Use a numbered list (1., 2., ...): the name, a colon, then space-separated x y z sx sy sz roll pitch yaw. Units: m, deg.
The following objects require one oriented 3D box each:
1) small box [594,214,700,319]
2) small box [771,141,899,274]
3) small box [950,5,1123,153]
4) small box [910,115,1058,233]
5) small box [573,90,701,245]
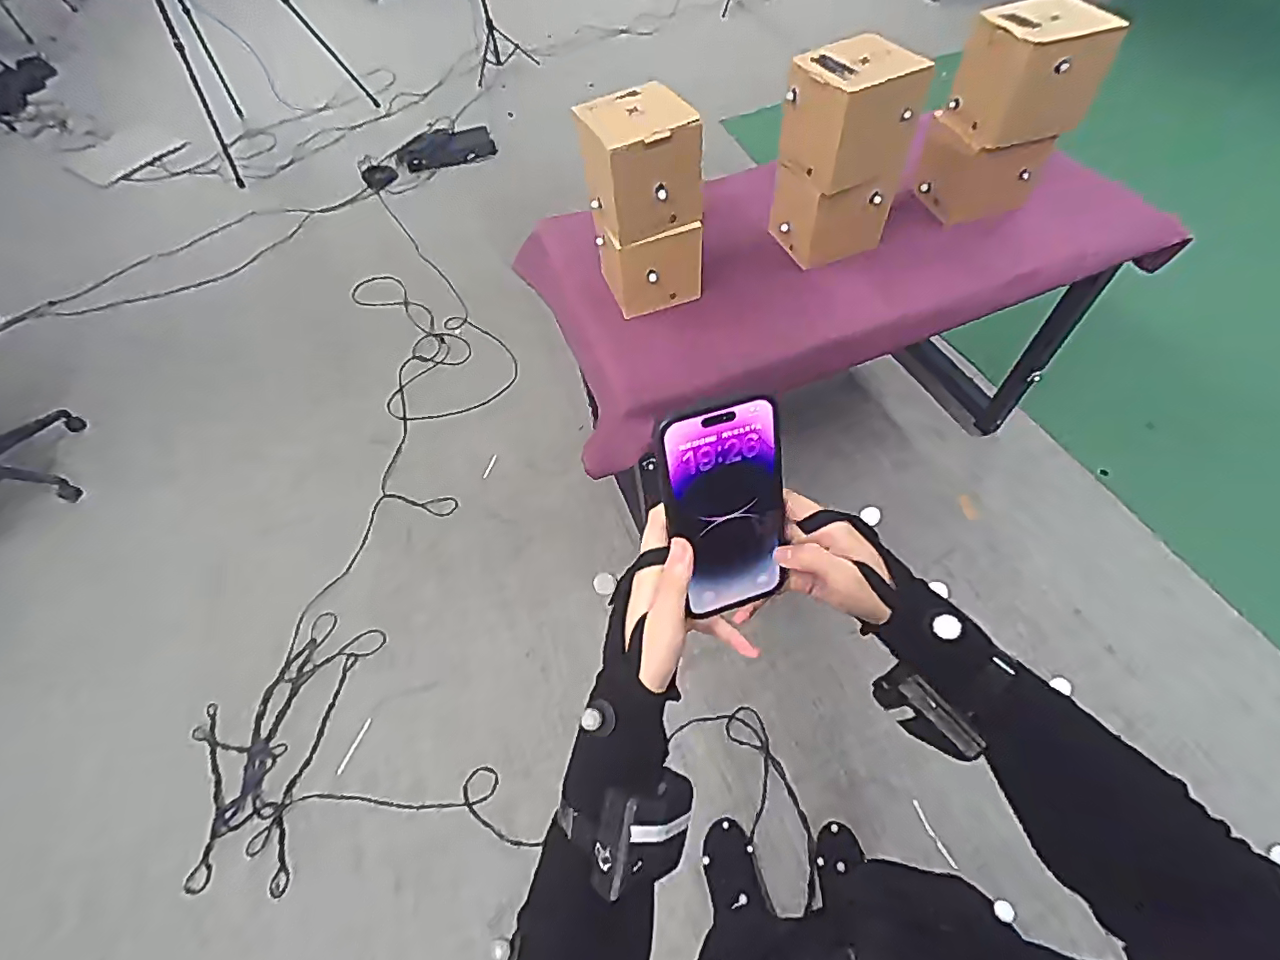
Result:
1. small box: 0.018 -0.449 1.092 0.168 0.176 0.179 -19 57 -6
2. small box: 0.392 -0.561 1.121 0.179 0.176 0.168 -19 57 -6
3. small box: 0.714 -0.740 1.007 0.179 0.176 0.168 -14 56 -3
4. small box: 0.716 -0.660 1.150 0.179 0.176 0.168 -14 56 -2
5. small box: 0.000 -0.544 0.959 0.168 0.176 0.179 -23 58 -9
